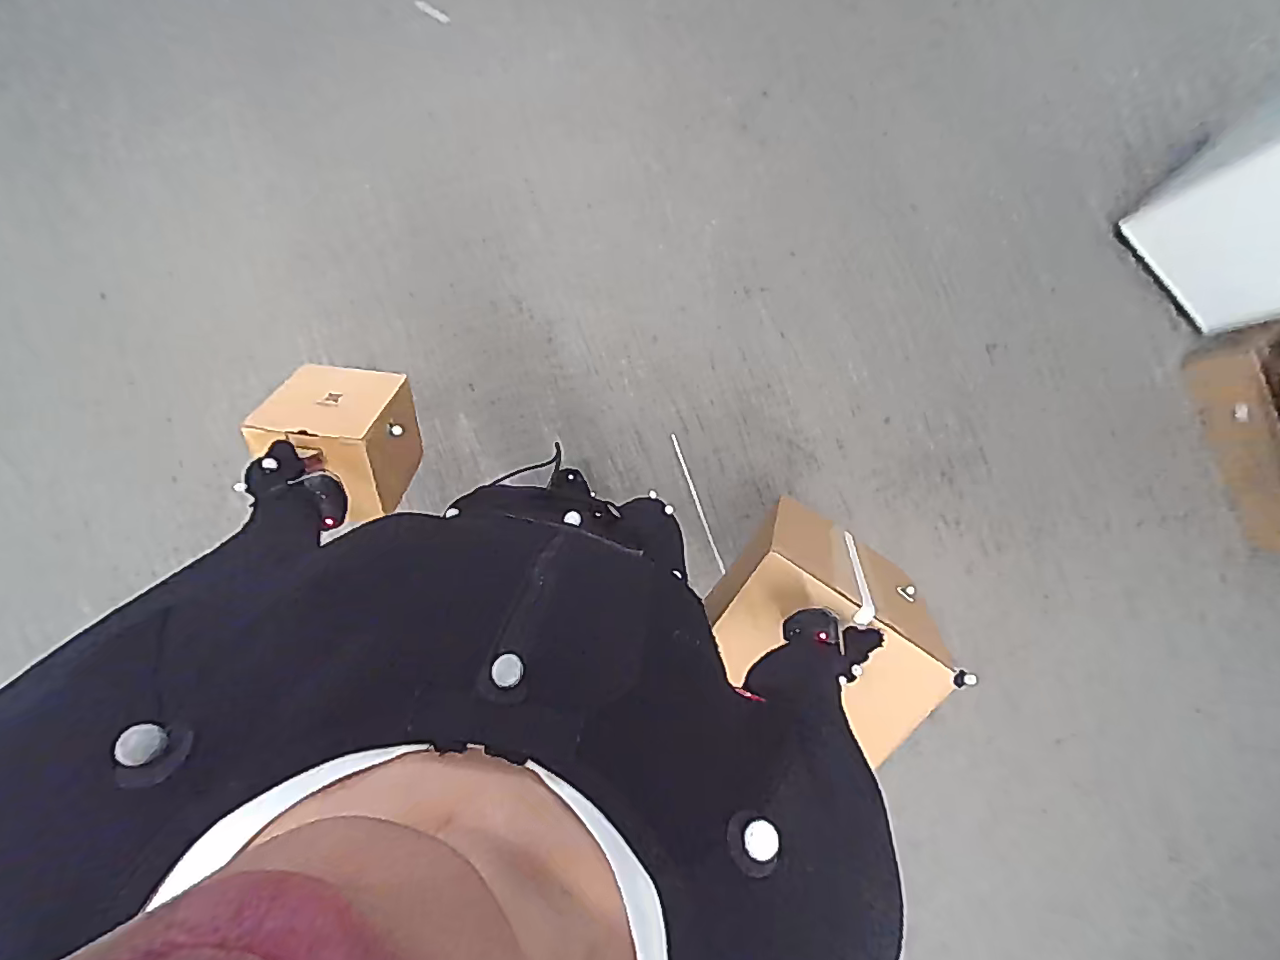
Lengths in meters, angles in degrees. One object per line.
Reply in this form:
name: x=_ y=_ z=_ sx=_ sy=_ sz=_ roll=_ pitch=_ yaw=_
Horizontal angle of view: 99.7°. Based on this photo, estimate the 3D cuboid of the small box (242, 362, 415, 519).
small box: x=-0.470 y=-0.062 z=0.854 sx=0.168 sy=0.179 sz=0.176 roll=5 pitch=132 yaw=-3
